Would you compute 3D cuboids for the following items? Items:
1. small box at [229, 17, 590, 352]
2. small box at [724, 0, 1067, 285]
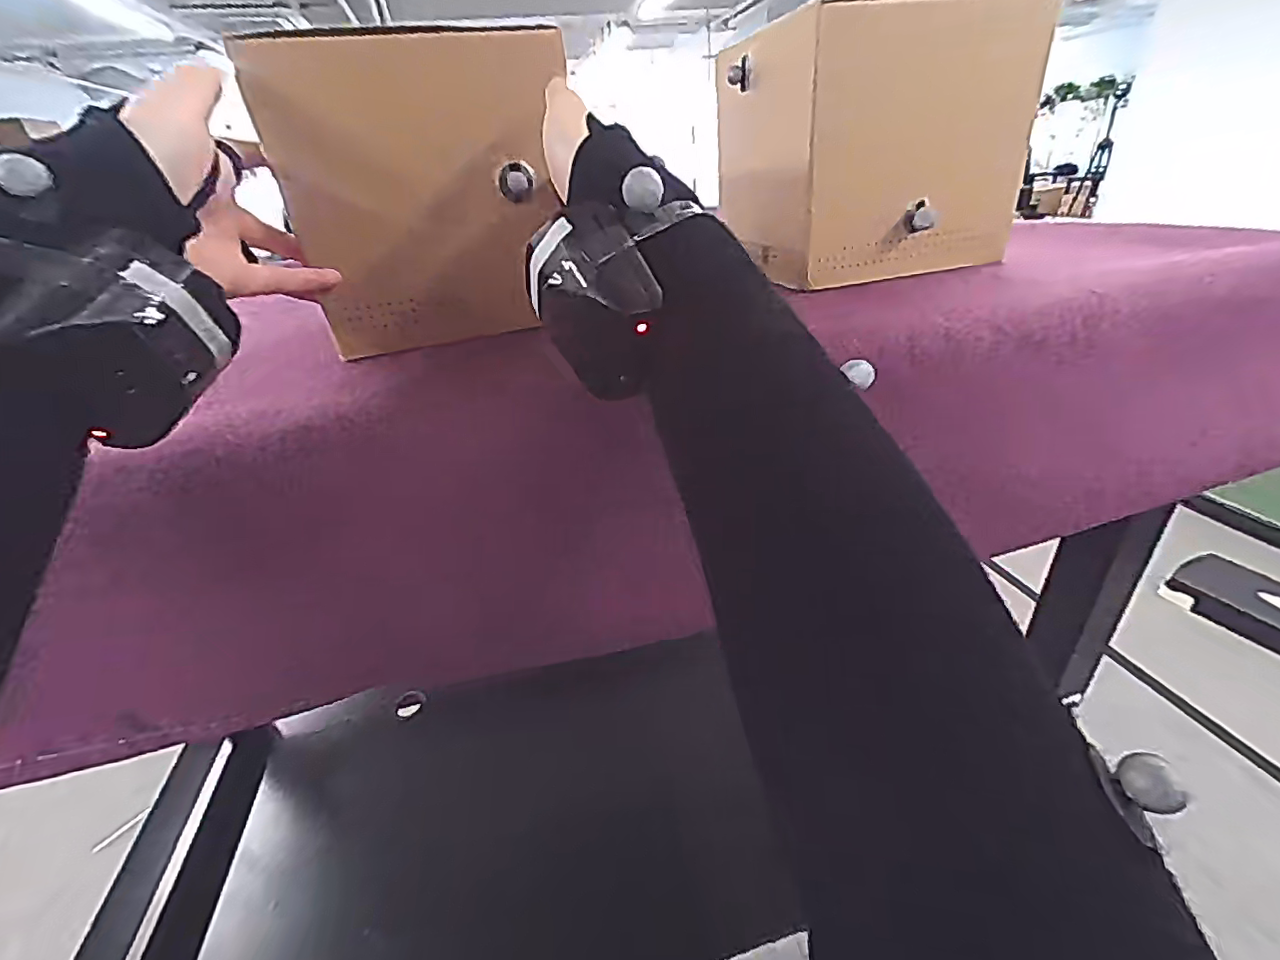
[{"bbox_3d":[-0.141,-0.205,0.392,0.179,0.176,0.168,-15,30,-15],"label":"small box"},{"bbox_3d":[0.175,-0.263,0.432,0.179,0.176,0.168,-11,29,-10],"label":"small box"}]
